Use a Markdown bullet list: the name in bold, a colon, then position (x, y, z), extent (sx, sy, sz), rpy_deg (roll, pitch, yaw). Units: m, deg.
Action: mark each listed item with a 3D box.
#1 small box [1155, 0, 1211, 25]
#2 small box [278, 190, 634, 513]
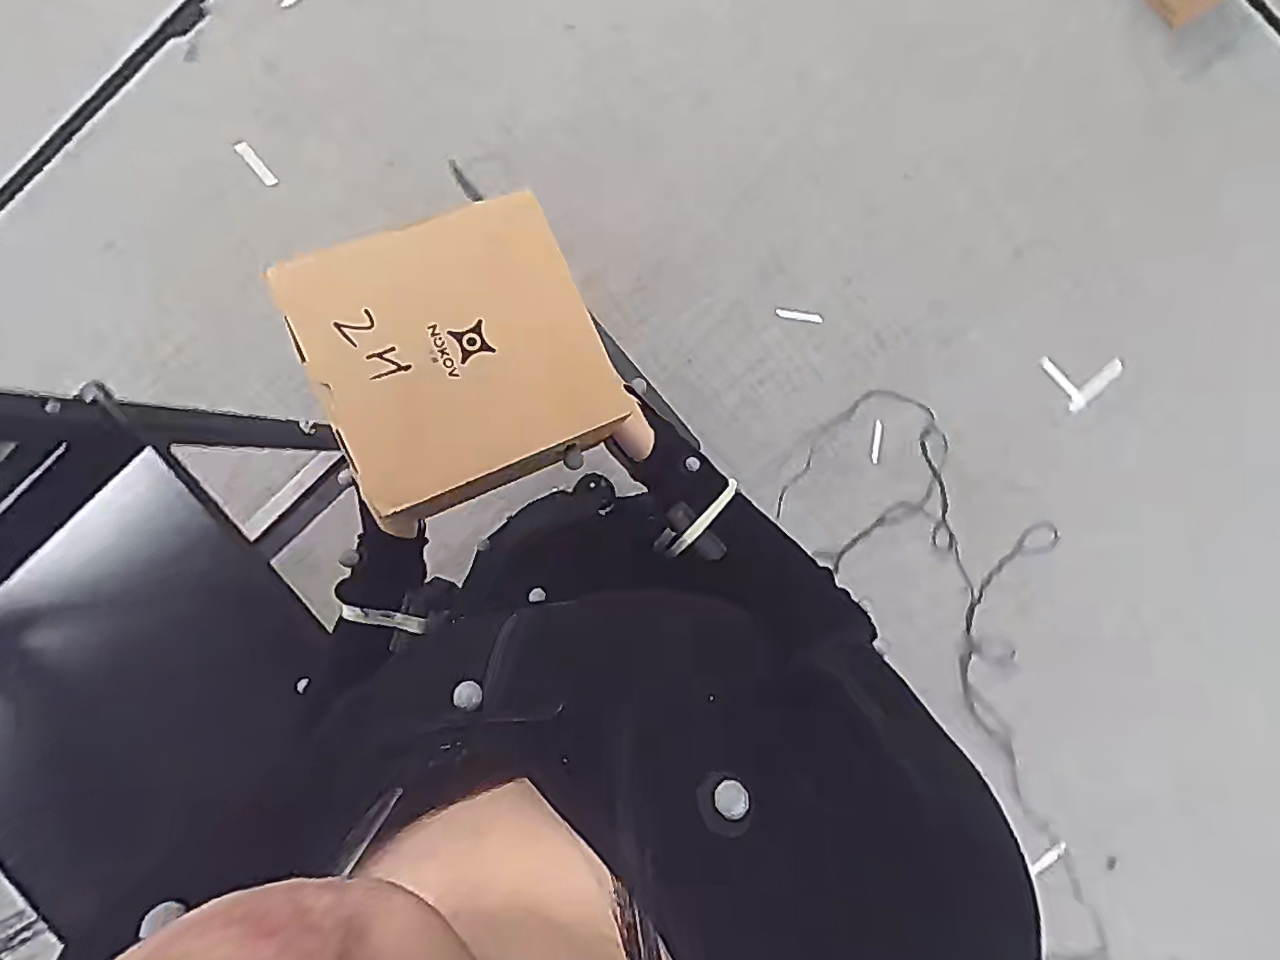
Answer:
- **small box**: position (1.391, -1.277, 1.311), extent (0.179, 0.176, 0.168), rpy_deg (-39, 90, 4)
- **small box**: position (-0.127, -0.082, 0.419), extent (0.179, 0.176, 0.168), rpy_deg (-22, 91, -12)
